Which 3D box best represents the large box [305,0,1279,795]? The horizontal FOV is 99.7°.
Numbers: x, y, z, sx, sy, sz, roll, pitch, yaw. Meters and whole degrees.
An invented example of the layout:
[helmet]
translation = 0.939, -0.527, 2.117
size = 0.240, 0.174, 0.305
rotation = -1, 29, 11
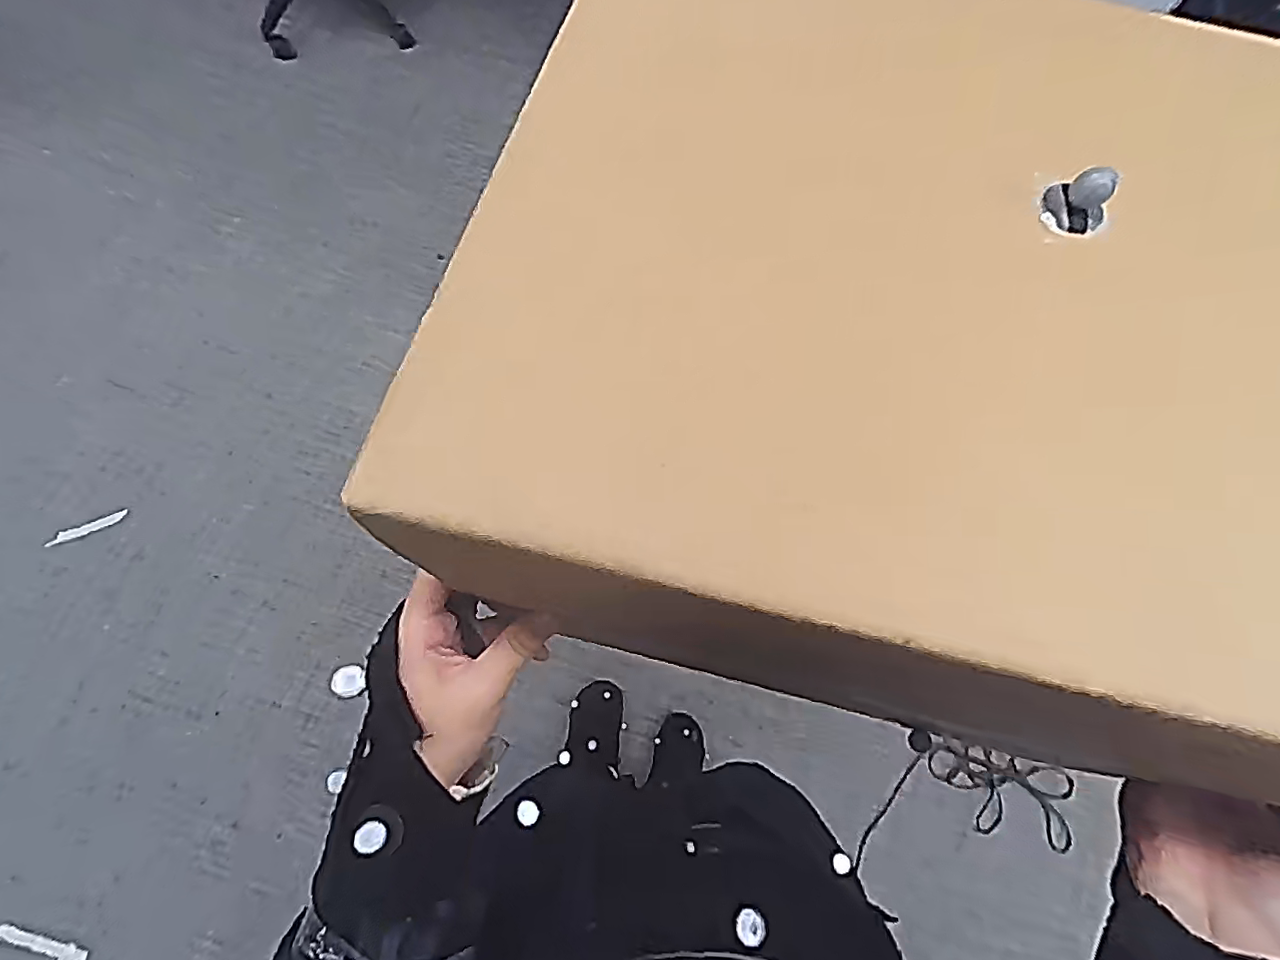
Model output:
[large box]
translation = 0.123, -0.035, 0.330
size = 0.408, 0.320, 0.320
rotation = 12, 71, 2
